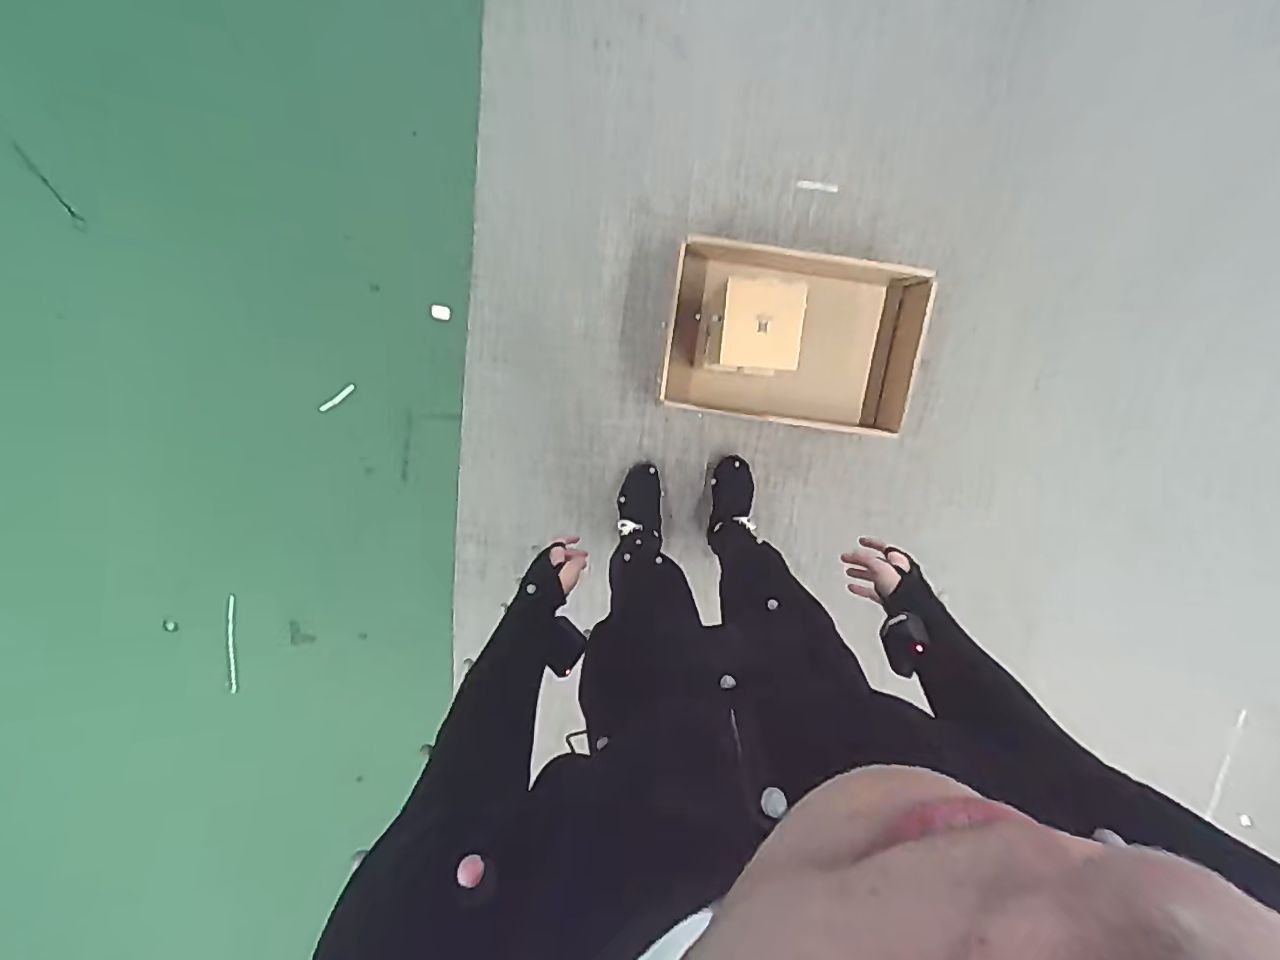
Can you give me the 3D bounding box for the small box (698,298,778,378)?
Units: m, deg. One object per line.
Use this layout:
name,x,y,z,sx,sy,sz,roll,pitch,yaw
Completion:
small box,0.246,-0.346,1.340,0.179,0.176,0.168,6,101,-4

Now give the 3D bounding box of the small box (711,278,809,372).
small box,0.253,-0.329,1.179,0.168,0.176,0.179,4,100,-2
